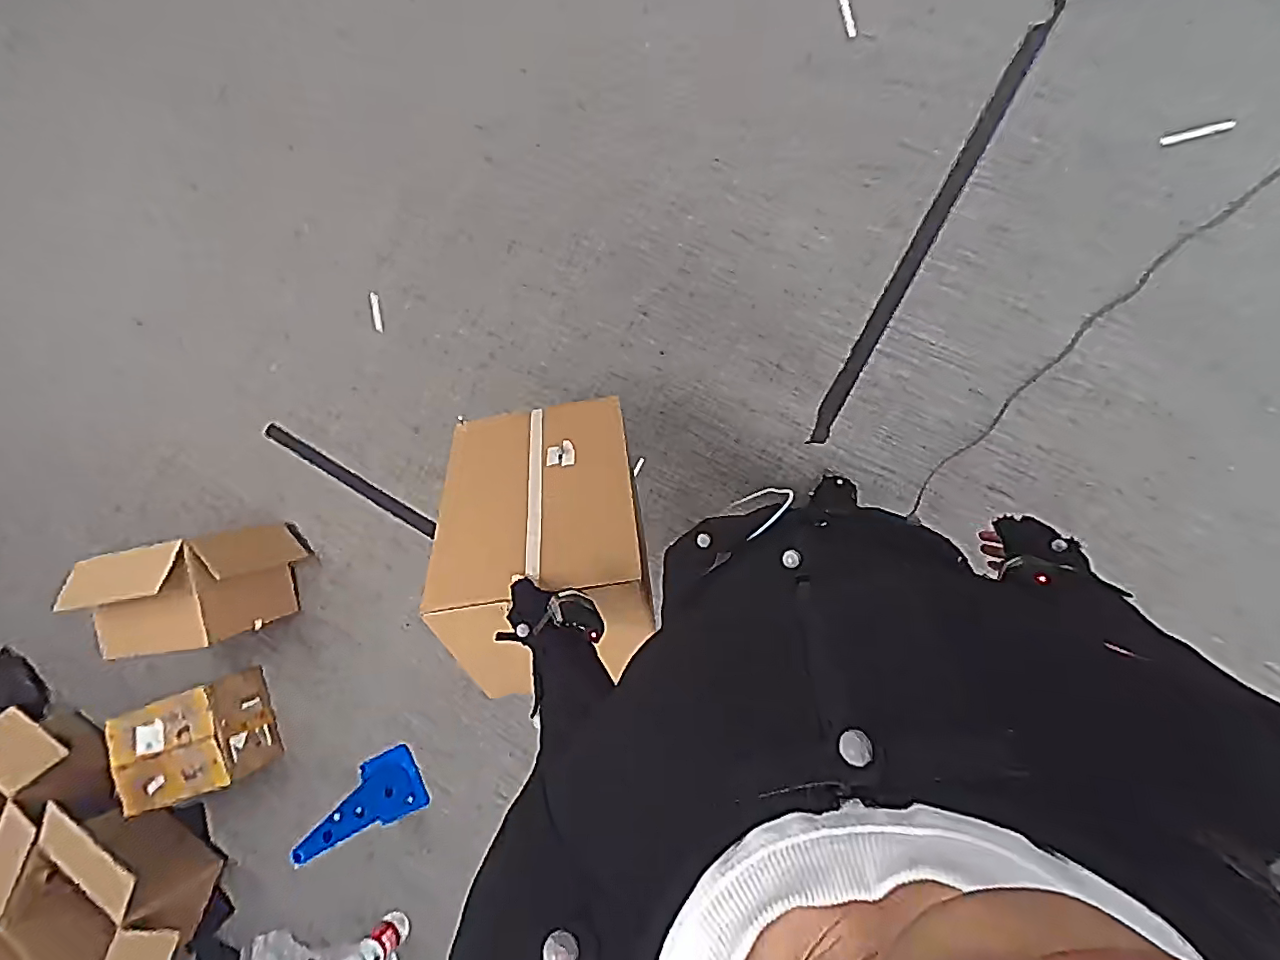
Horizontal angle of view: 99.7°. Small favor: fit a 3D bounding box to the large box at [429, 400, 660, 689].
[{"bbox_3d":[-0.151,0.114,0.999,0.320,0.320,0.408,-8,47,1],"label":"large box"}]
